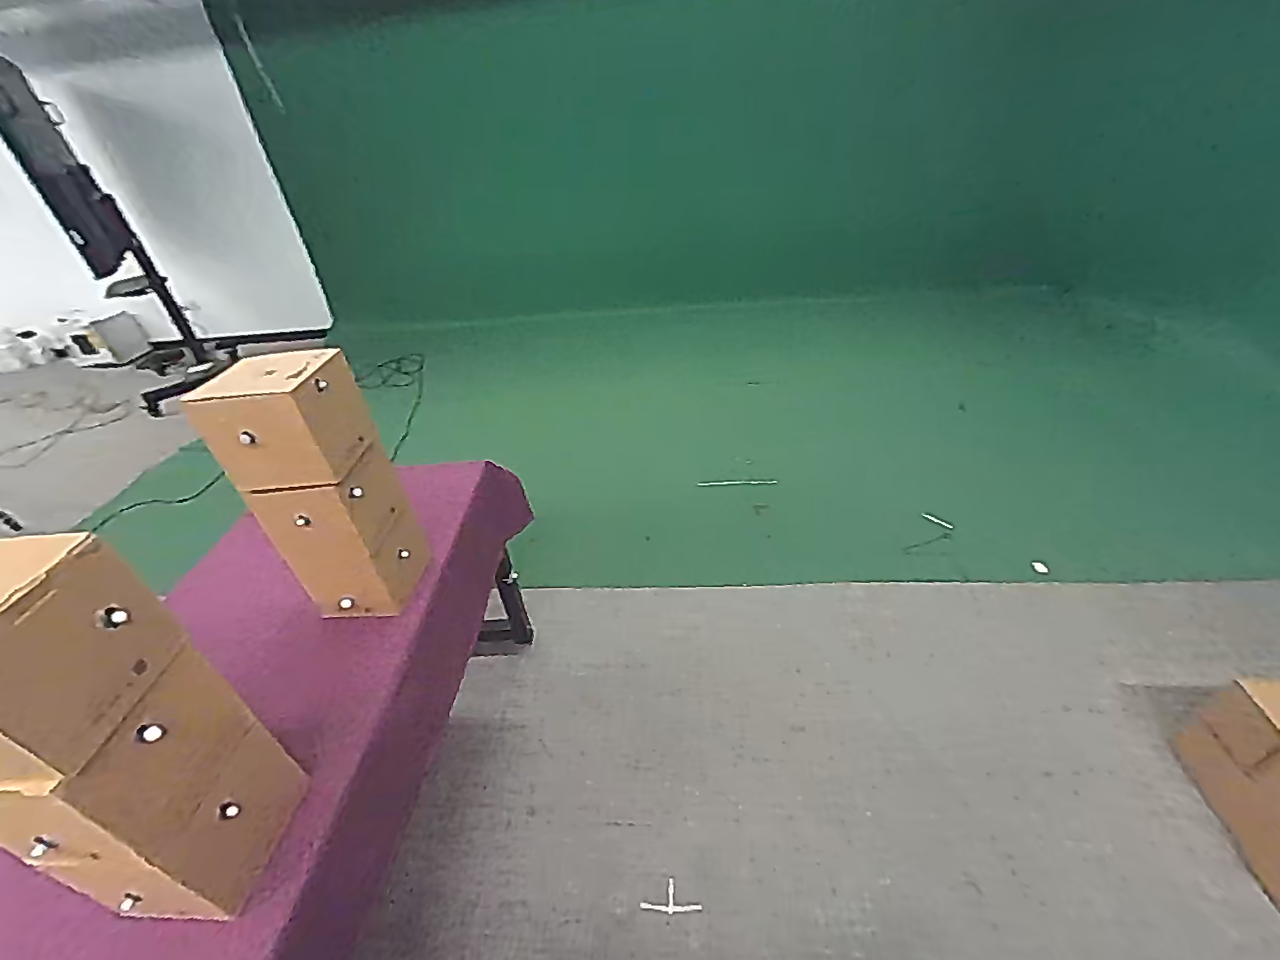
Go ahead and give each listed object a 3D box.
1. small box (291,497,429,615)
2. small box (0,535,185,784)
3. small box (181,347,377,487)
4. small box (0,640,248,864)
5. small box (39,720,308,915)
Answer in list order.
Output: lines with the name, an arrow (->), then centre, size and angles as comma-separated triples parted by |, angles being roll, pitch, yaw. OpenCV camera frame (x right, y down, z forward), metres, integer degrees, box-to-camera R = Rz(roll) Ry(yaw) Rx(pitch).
small box -> -0.554, 0.154, 1.103 | 0.168, 0.176, 0.179 | -3, 37, 6
small box -> -0.615, 0.174, 0.527 | 0.179, 0.176, 0.168 | -5, 36, 5
small box -> -0.578, -0.101, 0.895 | 0.179, 0.176, 0.168 | -6, 37, 5
small box -> -0.601, 0.307, 0.621 | 0.168, 0.176, 0.179 | -3, 37, 6
small box -> -0.583, 0.441, 0.712 | 0.168, 0.176, 0.179 | -2, 36, 6
